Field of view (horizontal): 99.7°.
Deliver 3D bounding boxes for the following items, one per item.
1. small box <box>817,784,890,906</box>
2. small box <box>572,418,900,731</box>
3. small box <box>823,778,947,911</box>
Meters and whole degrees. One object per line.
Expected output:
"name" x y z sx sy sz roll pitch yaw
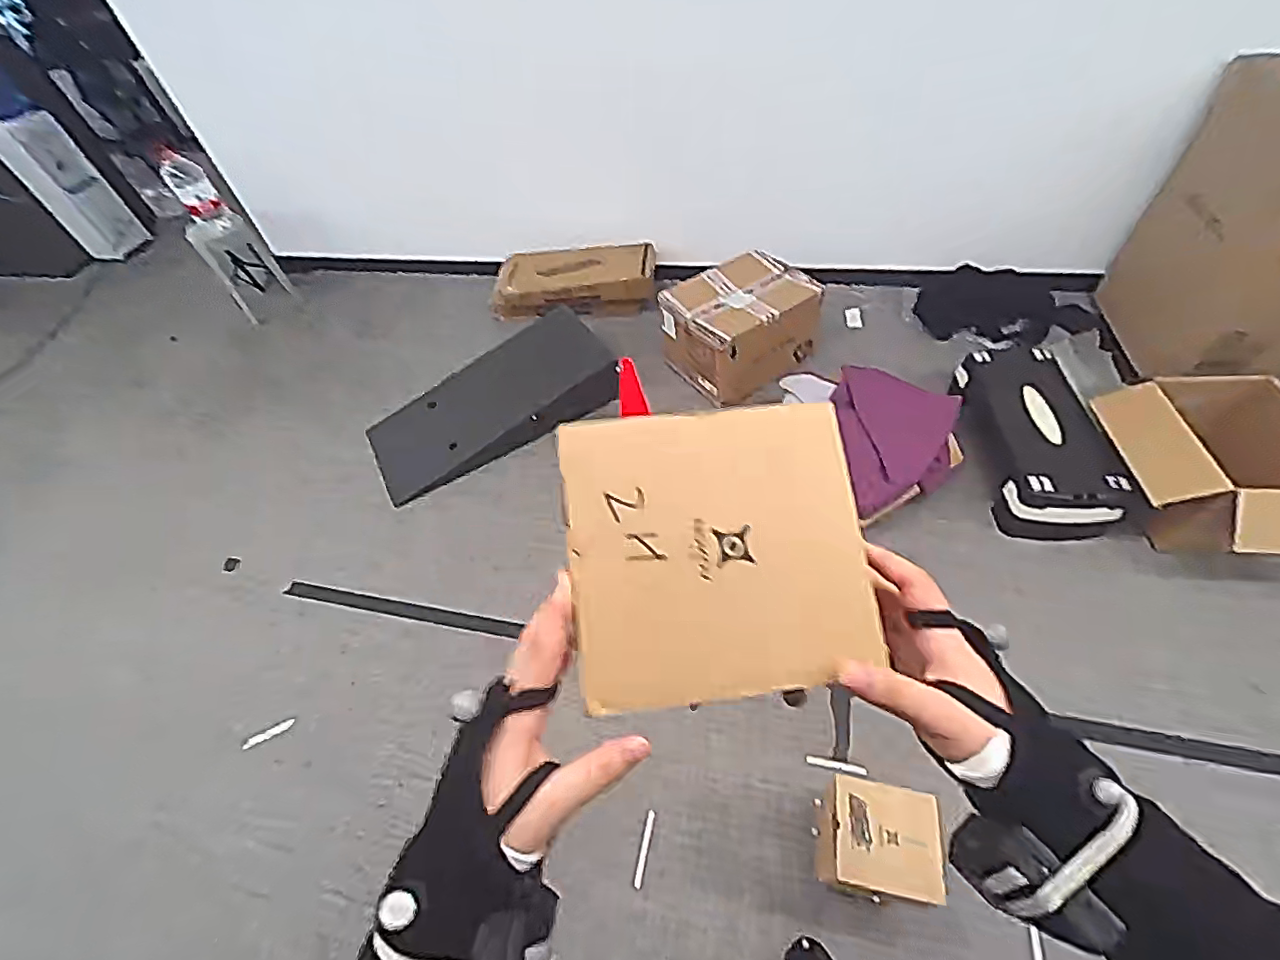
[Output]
"small box" 0.473 0.771 1.138 0.168 0.176 0.179 9 54 14
"small box" 0.047 0.065 0.389 0.179 0.176 0.168 -6 76 -6
"small box" 0.442 0.678 1.003 0.179 0.176 0.168 7 53 12
